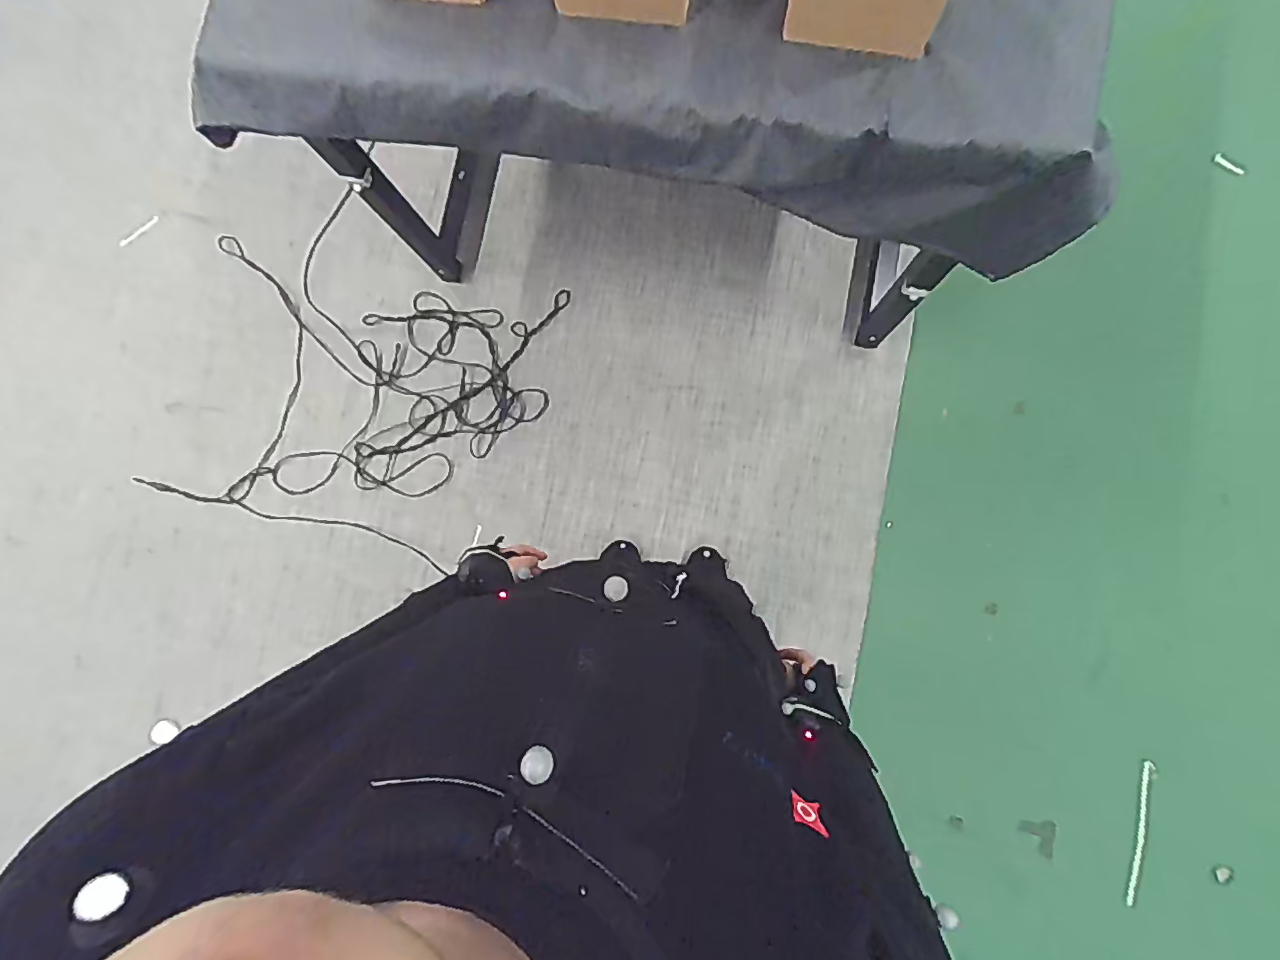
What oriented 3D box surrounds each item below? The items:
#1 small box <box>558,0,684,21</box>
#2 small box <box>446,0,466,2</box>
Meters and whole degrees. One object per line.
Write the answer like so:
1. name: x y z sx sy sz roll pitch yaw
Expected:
1. small box: -0.019 -0.702 0.649 0.179 0.176 0.168 10 84 8
2. small box: -0.292 -0.757 0.681 0.179 0.176 0.168 10 85 6
